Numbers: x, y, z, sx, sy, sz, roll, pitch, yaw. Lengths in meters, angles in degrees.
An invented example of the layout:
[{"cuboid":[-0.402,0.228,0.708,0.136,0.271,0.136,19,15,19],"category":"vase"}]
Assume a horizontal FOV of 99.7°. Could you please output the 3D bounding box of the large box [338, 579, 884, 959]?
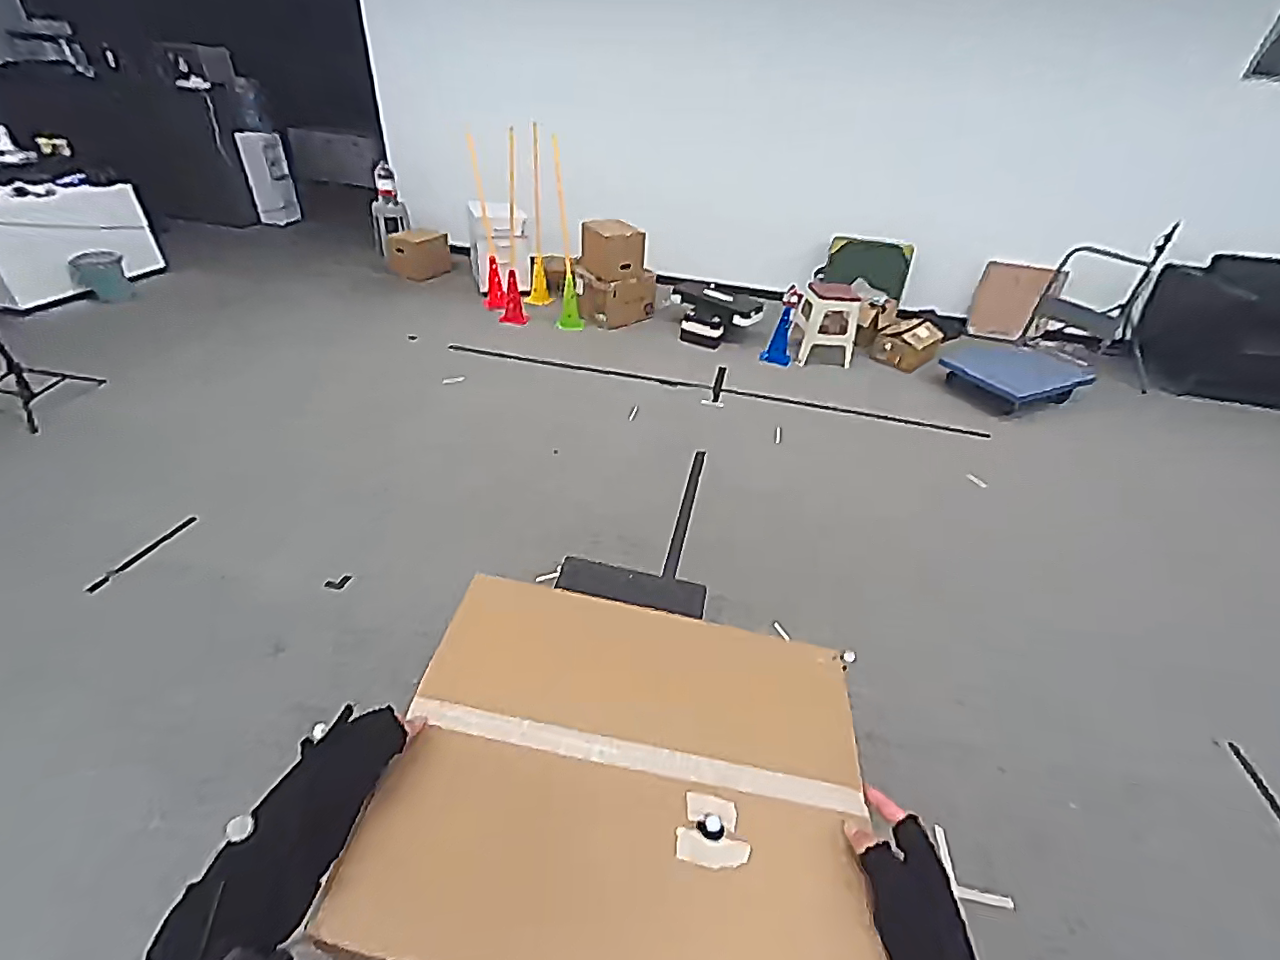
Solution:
[{"cuboid":[-0.023,0.355,0.581,0.408,0.320,0.320,12,41,0],"category":"large box"}]
